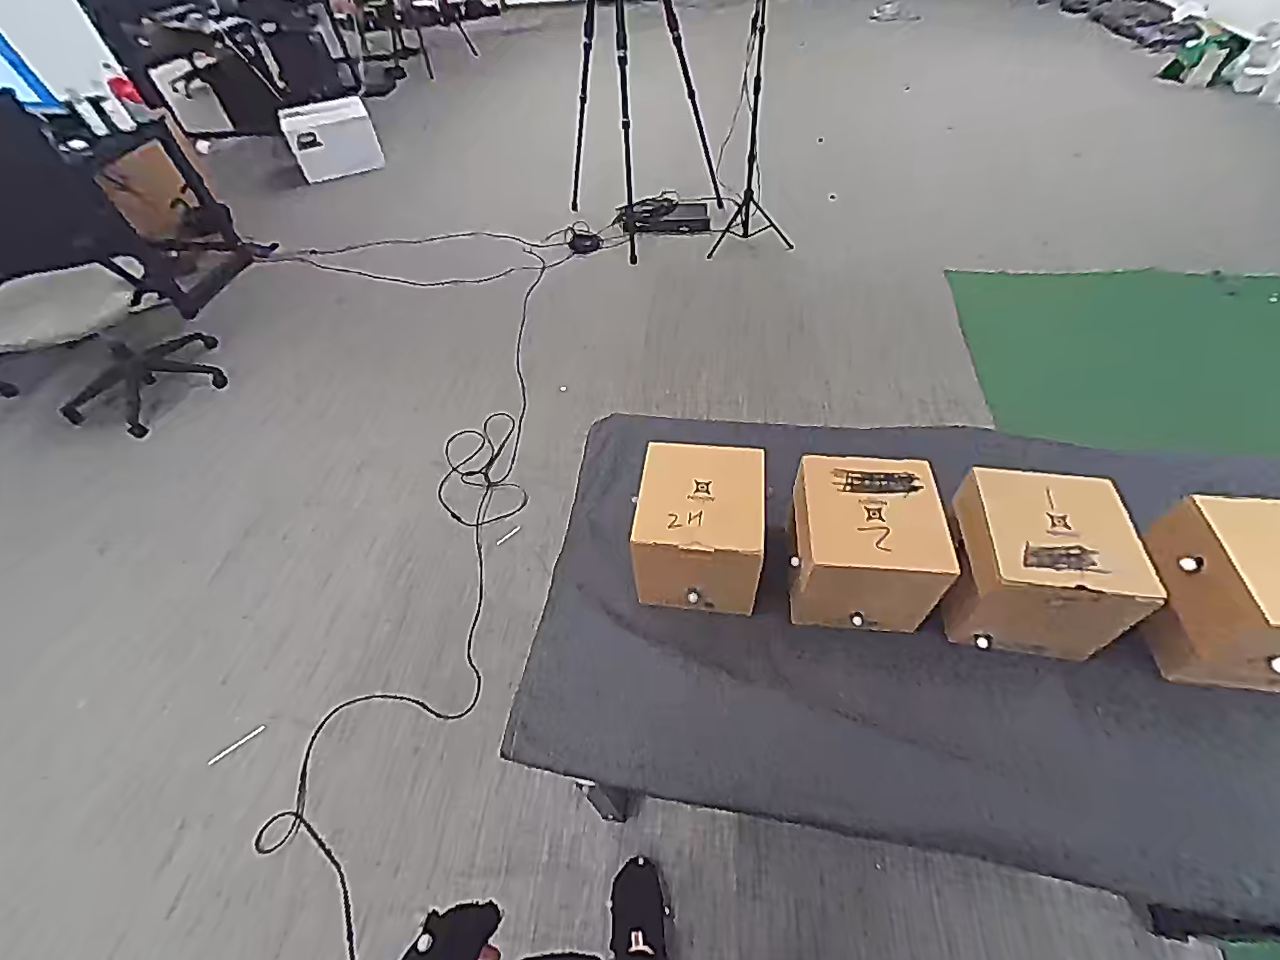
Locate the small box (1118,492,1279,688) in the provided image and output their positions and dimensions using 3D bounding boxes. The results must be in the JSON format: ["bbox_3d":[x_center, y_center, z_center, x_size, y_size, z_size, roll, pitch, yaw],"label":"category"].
[{"bbox_3d":[0.744,0.138,0.655,0.168,0.176,0.179,5,51,9],"label":"small box"}]

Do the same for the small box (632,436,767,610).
[{"bbox_3d":[0.087,0.062,0.772,0.168,0.176,0.179,4,51,8],"label":"small box"}]
